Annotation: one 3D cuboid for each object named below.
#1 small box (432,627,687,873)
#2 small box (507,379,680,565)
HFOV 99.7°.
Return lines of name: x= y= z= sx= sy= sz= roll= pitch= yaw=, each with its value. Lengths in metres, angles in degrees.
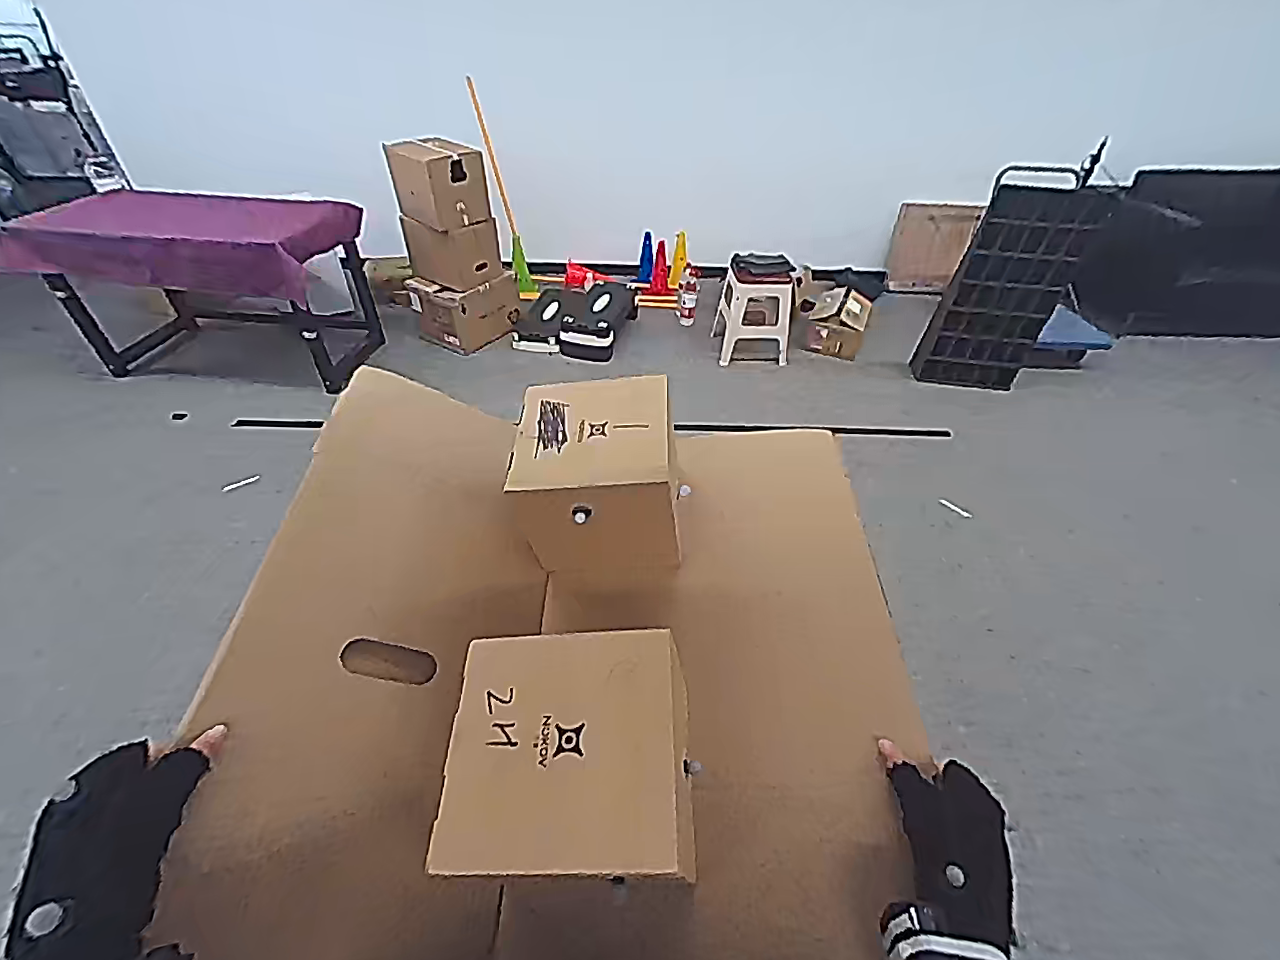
small box: x=-0.049 y=0.243 z=0.482 sx=0.179 sy=0.176 sz=0.168 roll=-5 pitch=51 yaw=8
small box: x=-0.044 y=-0.004 z=0.680 sx=0.179 sy=0.176 sz=0.168 roll=-3 pitch=51 yaw=7
